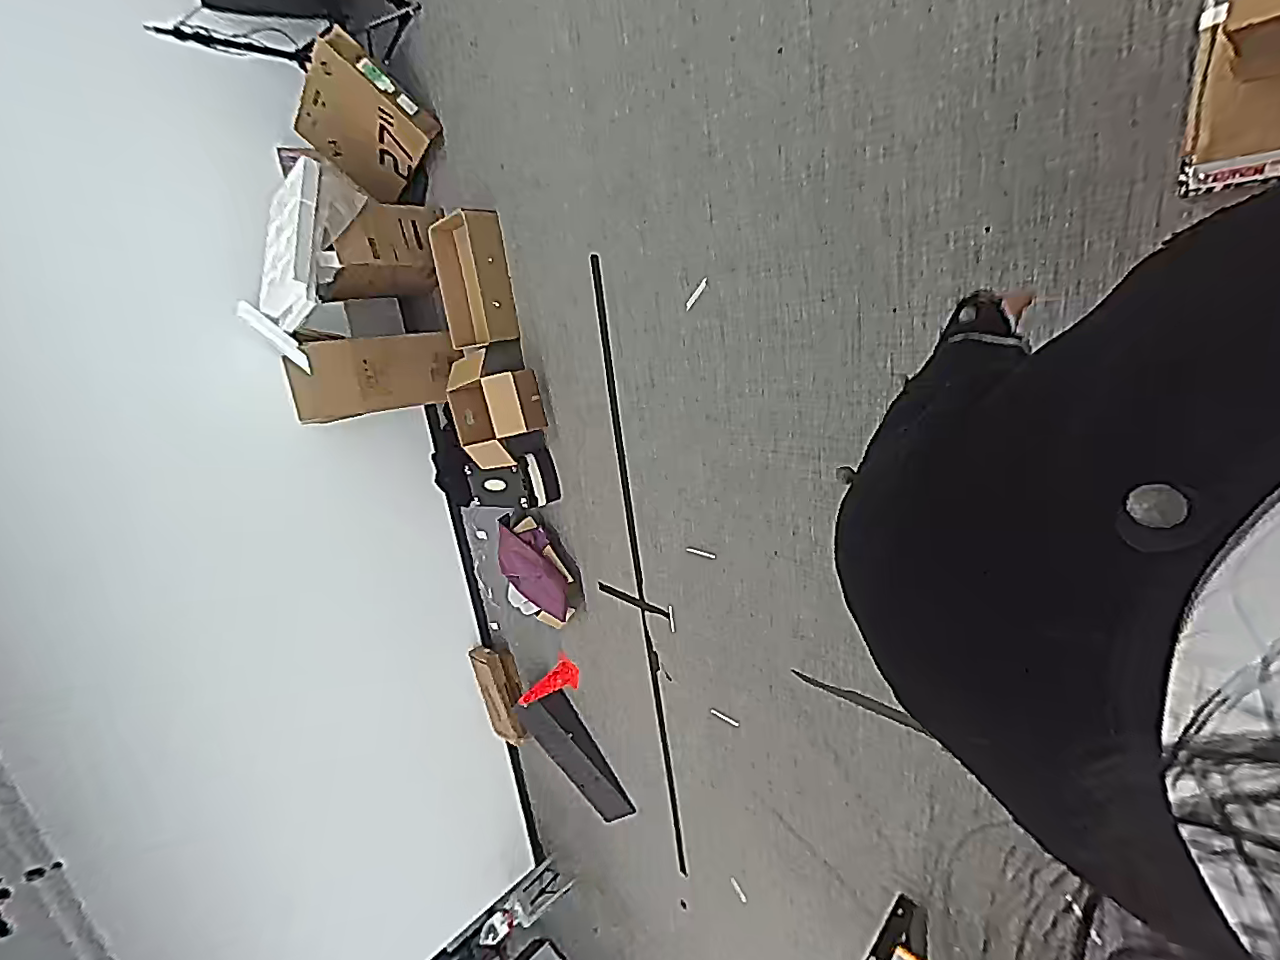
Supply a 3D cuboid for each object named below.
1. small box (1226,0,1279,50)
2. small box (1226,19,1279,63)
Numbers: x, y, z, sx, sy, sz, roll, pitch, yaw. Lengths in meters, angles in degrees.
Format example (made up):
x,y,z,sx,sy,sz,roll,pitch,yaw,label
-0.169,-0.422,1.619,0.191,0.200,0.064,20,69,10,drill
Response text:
x,y,z,sx,sy,sz,roll,pitch,yaw,label
0.565,-0.450,0.386,0.168,0.176,0.179,16,121,48,small box
0.677,-0.509,0.489,0.168,0.176,0.179,15,120,46,small box
